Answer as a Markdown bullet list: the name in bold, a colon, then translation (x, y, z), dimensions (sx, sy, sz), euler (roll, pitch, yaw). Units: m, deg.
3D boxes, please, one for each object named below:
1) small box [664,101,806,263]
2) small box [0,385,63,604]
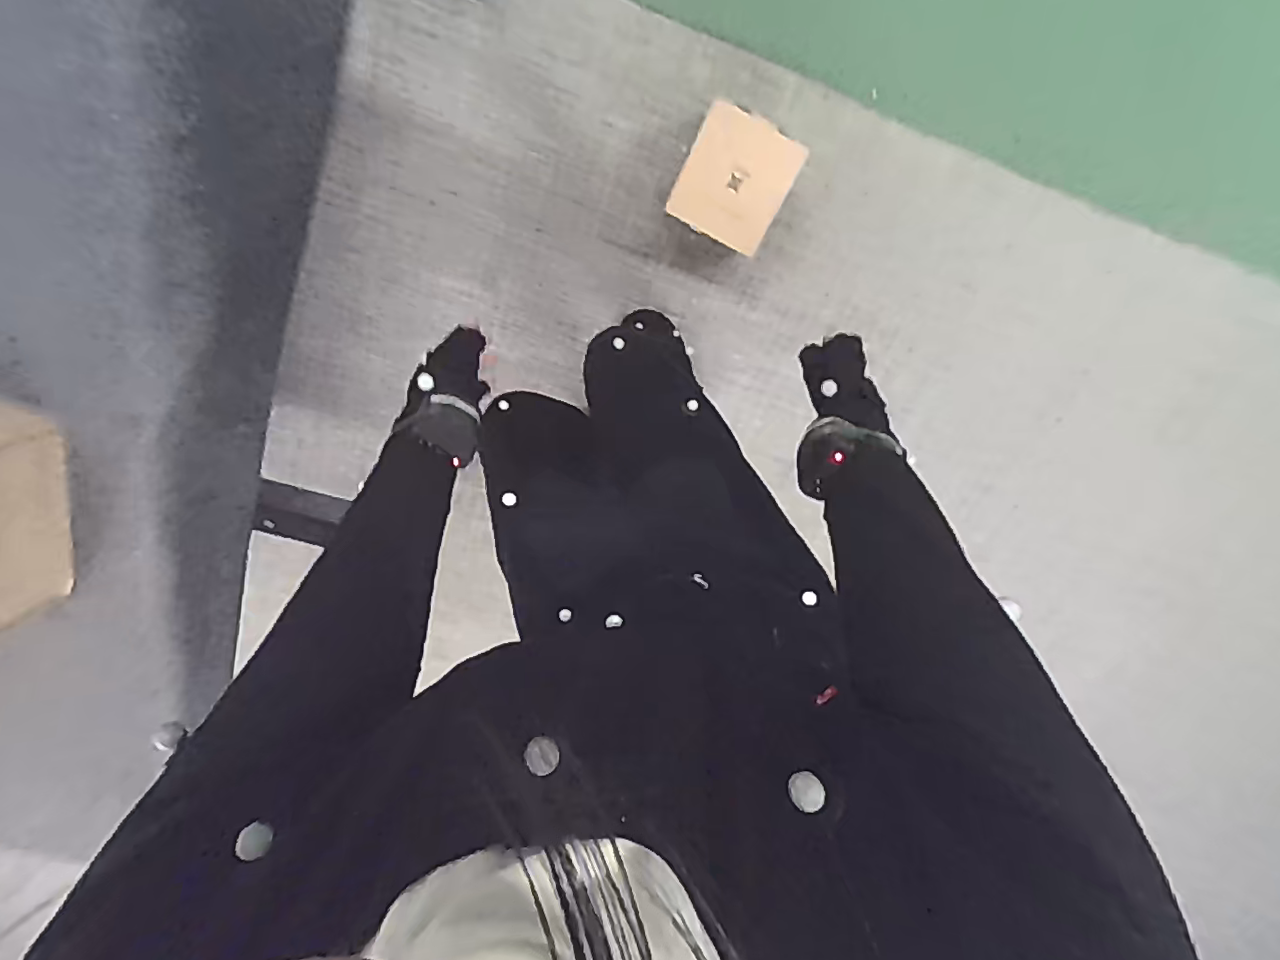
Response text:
- **small box**: translation (0.149, -0.497, 0.922), dimensions (0.168, 0.176, 0.179), euler (25, 115, -9)
- **small box**: translation (-0.556, 0.019, 0.366), dimensions (0.168, 0.176, 0.179), euler (21, 114, -9)
